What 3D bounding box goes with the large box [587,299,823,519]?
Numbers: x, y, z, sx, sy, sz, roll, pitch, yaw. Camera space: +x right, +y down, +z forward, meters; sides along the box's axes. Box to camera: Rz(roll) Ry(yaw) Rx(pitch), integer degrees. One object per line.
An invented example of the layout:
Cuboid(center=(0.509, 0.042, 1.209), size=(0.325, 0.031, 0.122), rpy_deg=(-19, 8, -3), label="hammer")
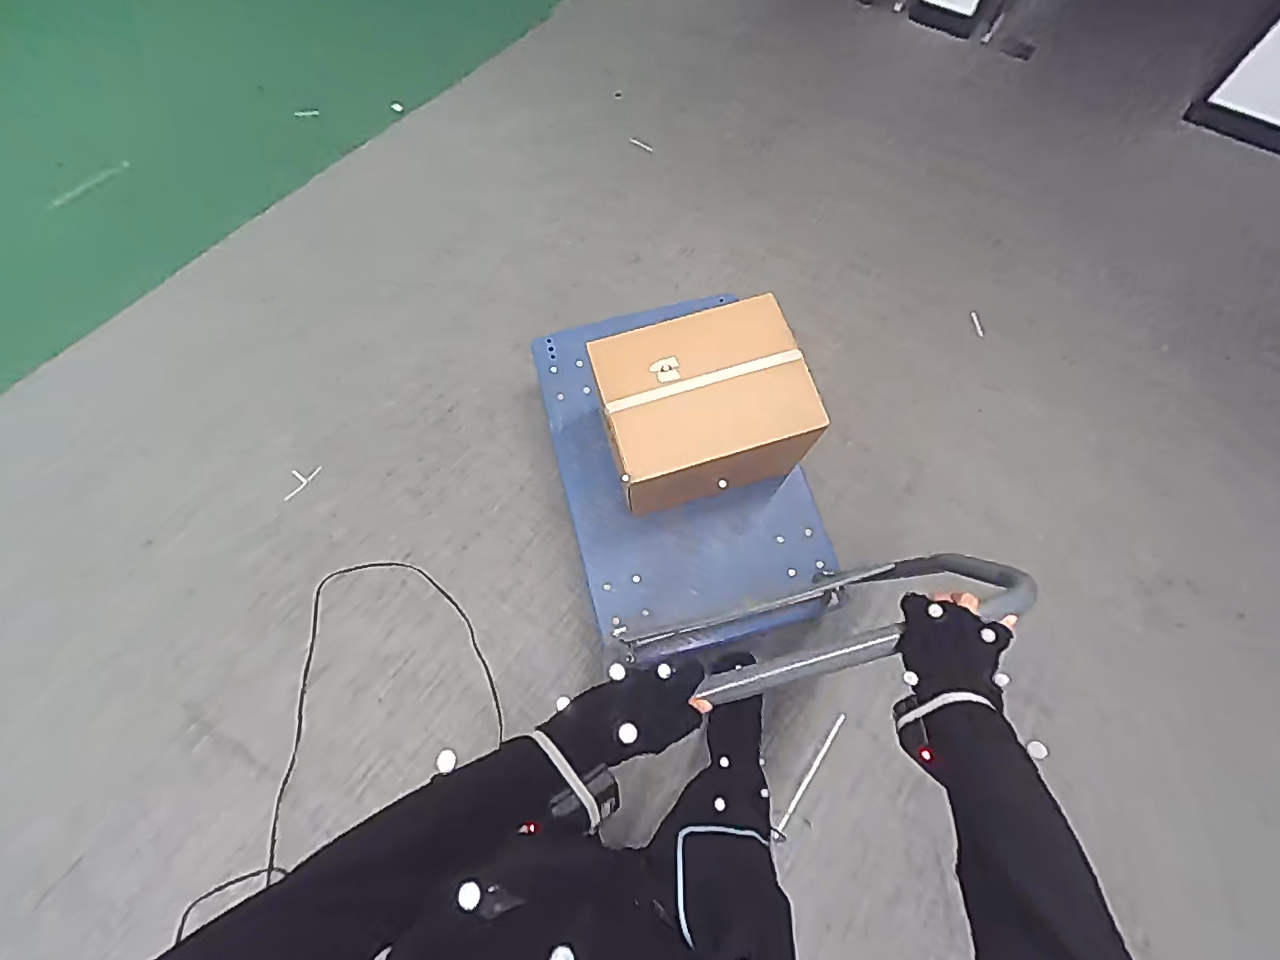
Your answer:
Cuboid(center=(0.130, -0.139, 1.222), size=(0.408, 0.320, 0.320), rpy_deg=(-18, 73, -3), label="large box")
